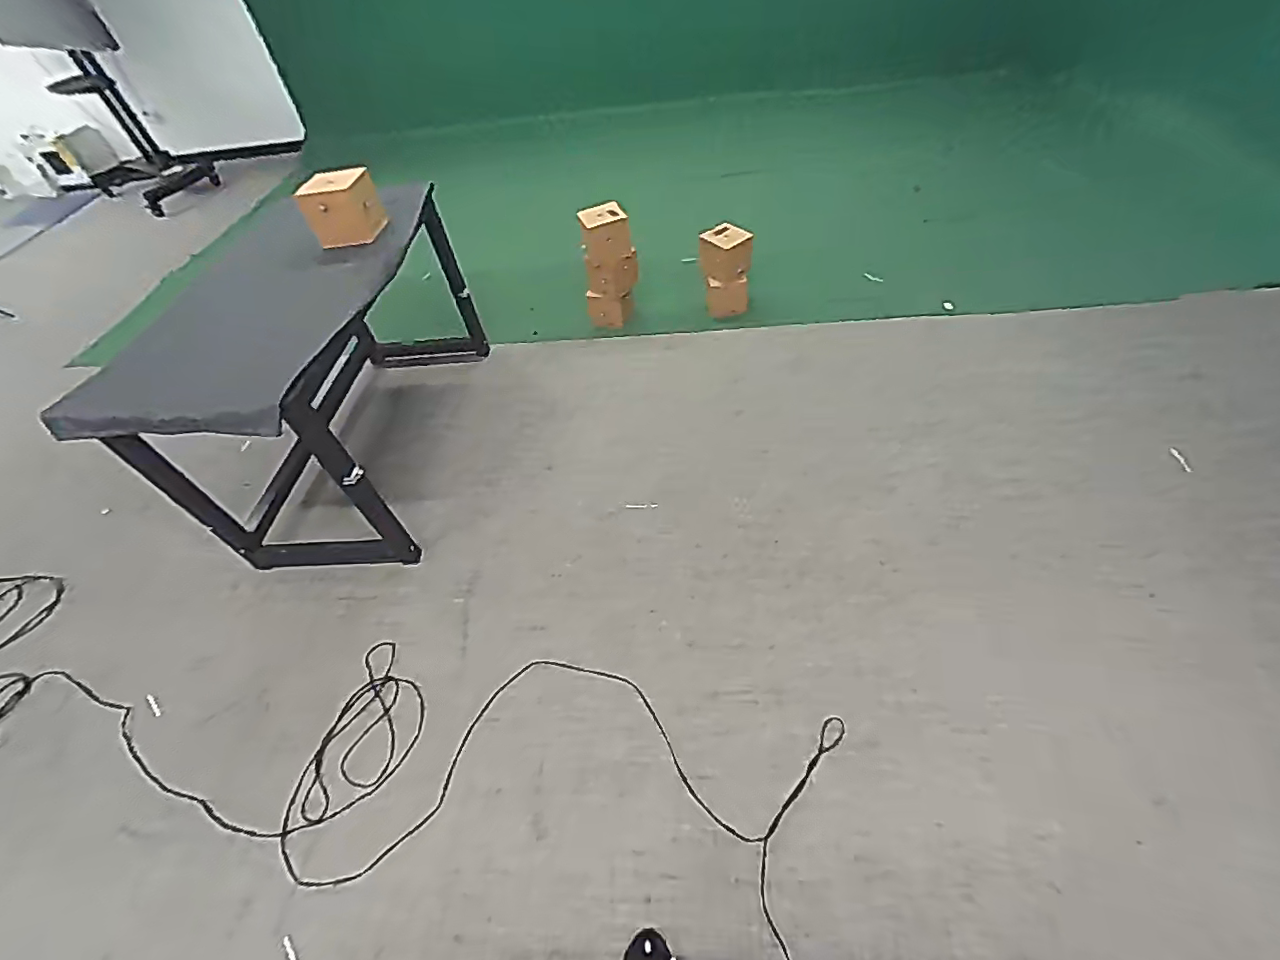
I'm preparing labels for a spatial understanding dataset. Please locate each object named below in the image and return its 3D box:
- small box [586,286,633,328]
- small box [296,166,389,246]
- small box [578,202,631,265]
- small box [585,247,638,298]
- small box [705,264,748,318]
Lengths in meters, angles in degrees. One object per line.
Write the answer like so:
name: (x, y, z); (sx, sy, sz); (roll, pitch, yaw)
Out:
small box: (-0.137, -0.840, 2.548); (0.168, 0.176, 0.179); (12, 52, 15)
small box: (-0.933, -0.867, 1.717); (0.179, 0.176, 0.168); (-3, 50, 7)
small box: (-0.145, -1.045, 2.293); (0.179, 0.176, 0.168); (-20, 52, -9)
small box: (-0.121, -0.940, 2.417); (0.168, 0.176, 0.179); (30, 59, 26)
small box: (0.397, -0.879, 2.513); (0.168, 0.176, 0.179); (-9, 49, 0)
